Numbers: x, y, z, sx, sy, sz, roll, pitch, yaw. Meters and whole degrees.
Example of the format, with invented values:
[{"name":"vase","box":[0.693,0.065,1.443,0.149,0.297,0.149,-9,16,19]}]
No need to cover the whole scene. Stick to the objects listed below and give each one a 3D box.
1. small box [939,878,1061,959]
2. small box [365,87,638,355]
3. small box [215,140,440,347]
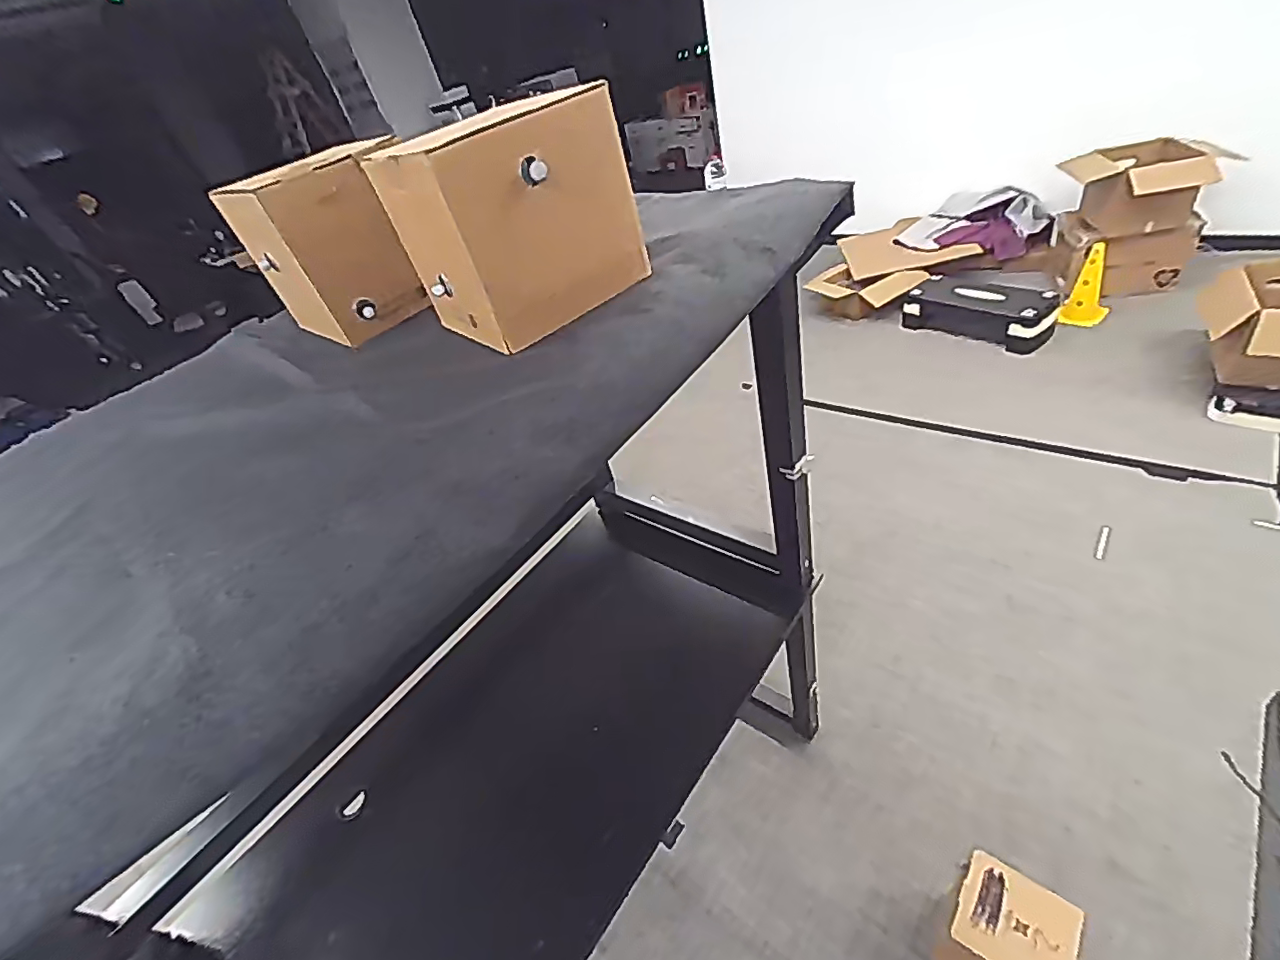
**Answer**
[{"name":"small box","box":[0.721,0.968,1.099,0.168,0.176,0.179,17,51,35]},{"name":"small box","box":[-0.120,-0.247,0.522,0.179,0.176,0.168,-38,42,-22]},{"name":"small box","box":[-0.346,-0.277,0.643,0.179,0.176,0.168,22,54,39]}]
